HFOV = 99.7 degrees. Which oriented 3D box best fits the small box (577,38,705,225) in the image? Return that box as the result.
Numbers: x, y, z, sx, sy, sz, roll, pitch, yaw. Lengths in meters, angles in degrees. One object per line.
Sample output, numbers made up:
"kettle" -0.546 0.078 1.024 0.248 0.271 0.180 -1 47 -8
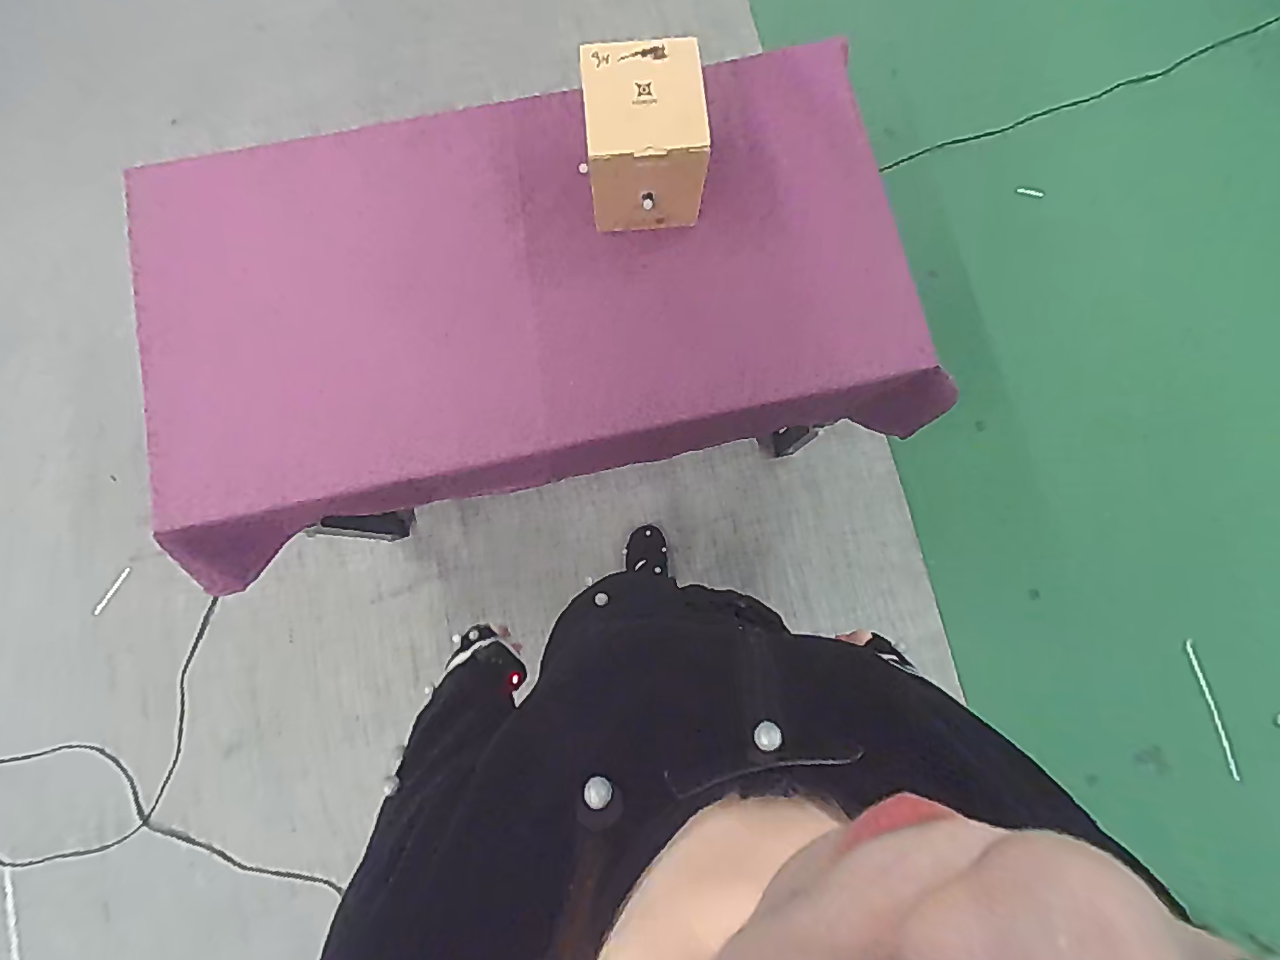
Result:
"small box" 0.001 -0.504 0.808 0.168 0.176 0.179 -5 82 -1
